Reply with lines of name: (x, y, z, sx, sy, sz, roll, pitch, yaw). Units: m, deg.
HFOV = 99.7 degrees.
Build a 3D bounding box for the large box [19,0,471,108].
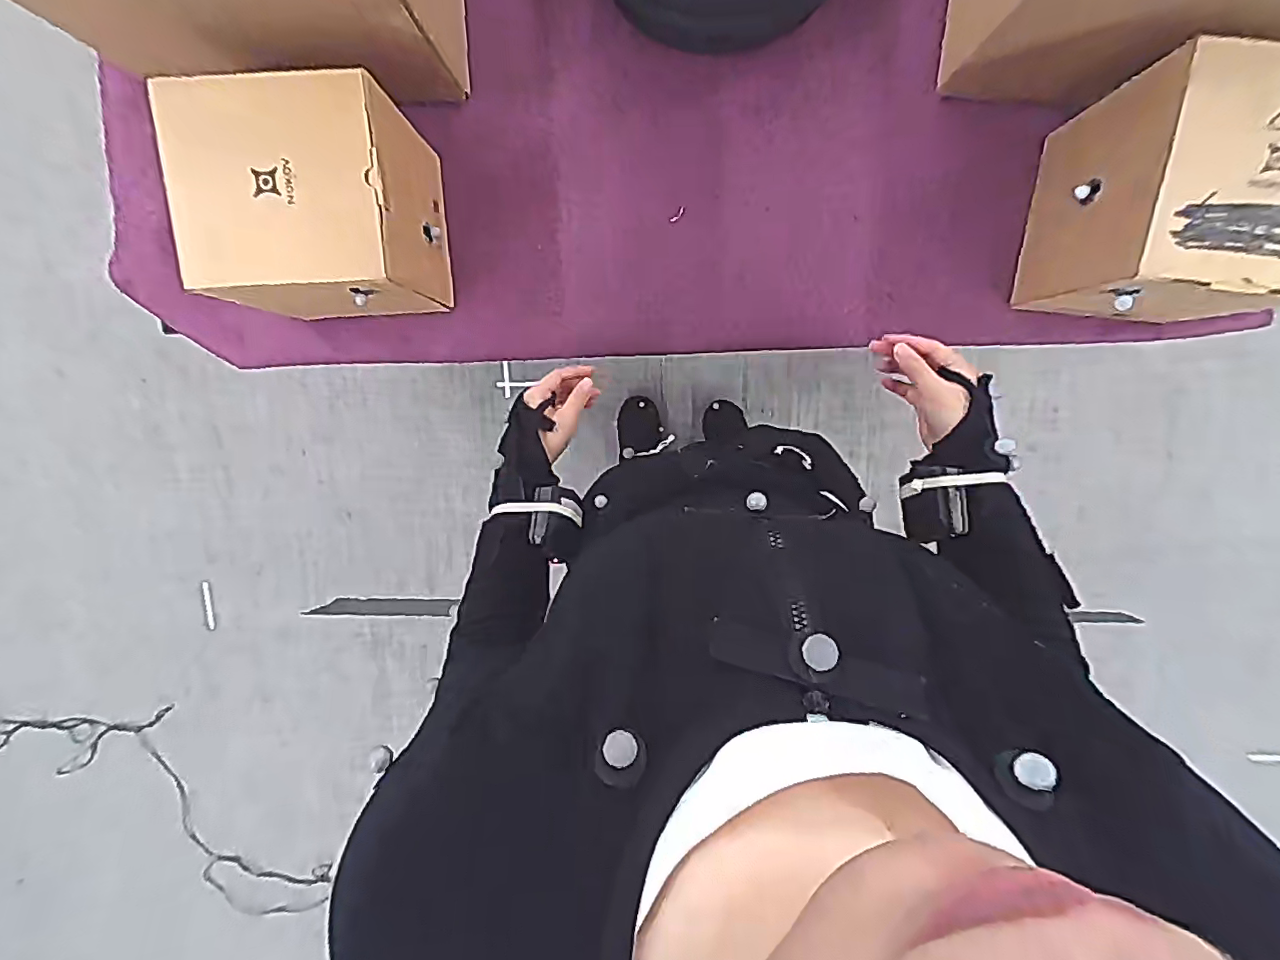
large box: (-0.341, -0.576, 0.410, 0.320, 0.320, 0.408, -1, 103, 1)
